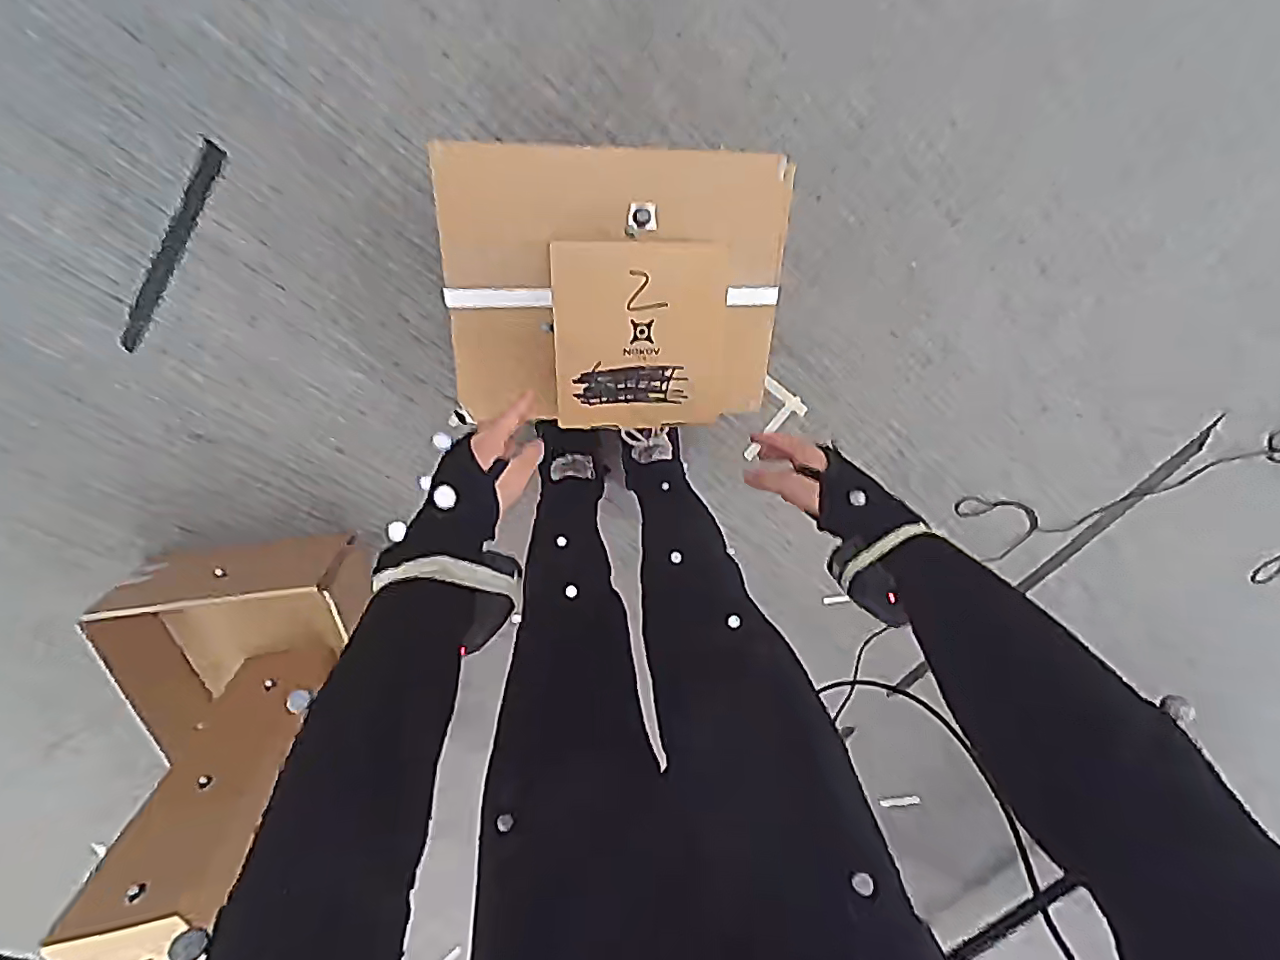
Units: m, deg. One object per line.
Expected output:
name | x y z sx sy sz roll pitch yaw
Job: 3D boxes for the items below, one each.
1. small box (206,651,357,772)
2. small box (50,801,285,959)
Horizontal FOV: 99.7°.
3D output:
small box | -0.704 0.469 1.085 0.179 0.176 0.168 -7 116 -6
small box | -0.660 0.608 0.791 0.179 0.176 0.168 -11 115 -4
